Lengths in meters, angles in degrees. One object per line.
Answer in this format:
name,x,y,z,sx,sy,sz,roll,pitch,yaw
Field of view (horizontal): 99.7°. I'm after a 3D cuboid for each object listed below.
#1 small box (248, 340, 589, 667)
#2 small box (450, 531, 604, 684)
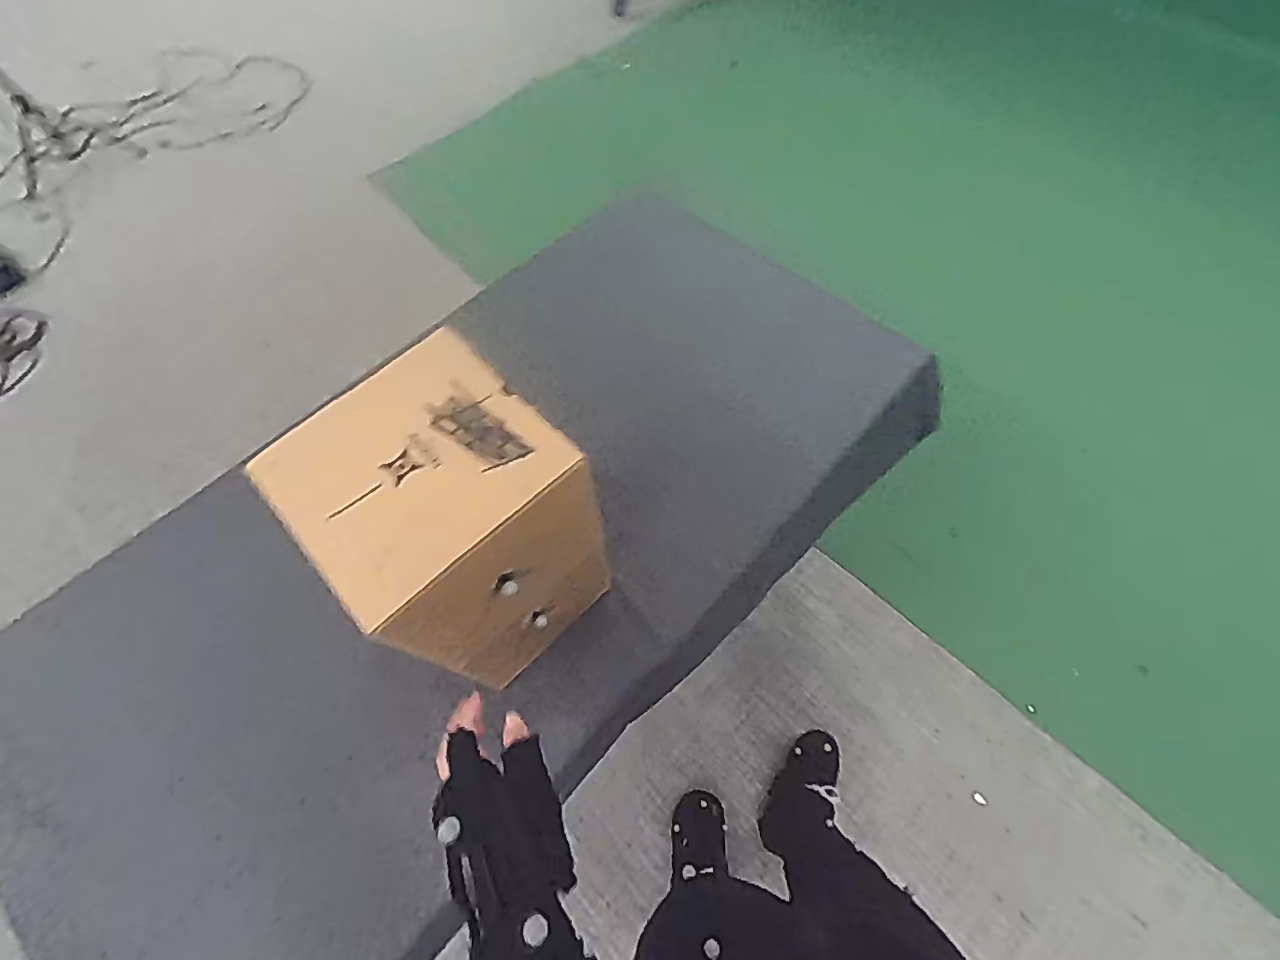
small box,-0.157,0.028,0.449,0.168,0.176,0.179,41,73,20
small box,-0.155,0.100,0.597,0.168,0.176,0.179,41,71,19
